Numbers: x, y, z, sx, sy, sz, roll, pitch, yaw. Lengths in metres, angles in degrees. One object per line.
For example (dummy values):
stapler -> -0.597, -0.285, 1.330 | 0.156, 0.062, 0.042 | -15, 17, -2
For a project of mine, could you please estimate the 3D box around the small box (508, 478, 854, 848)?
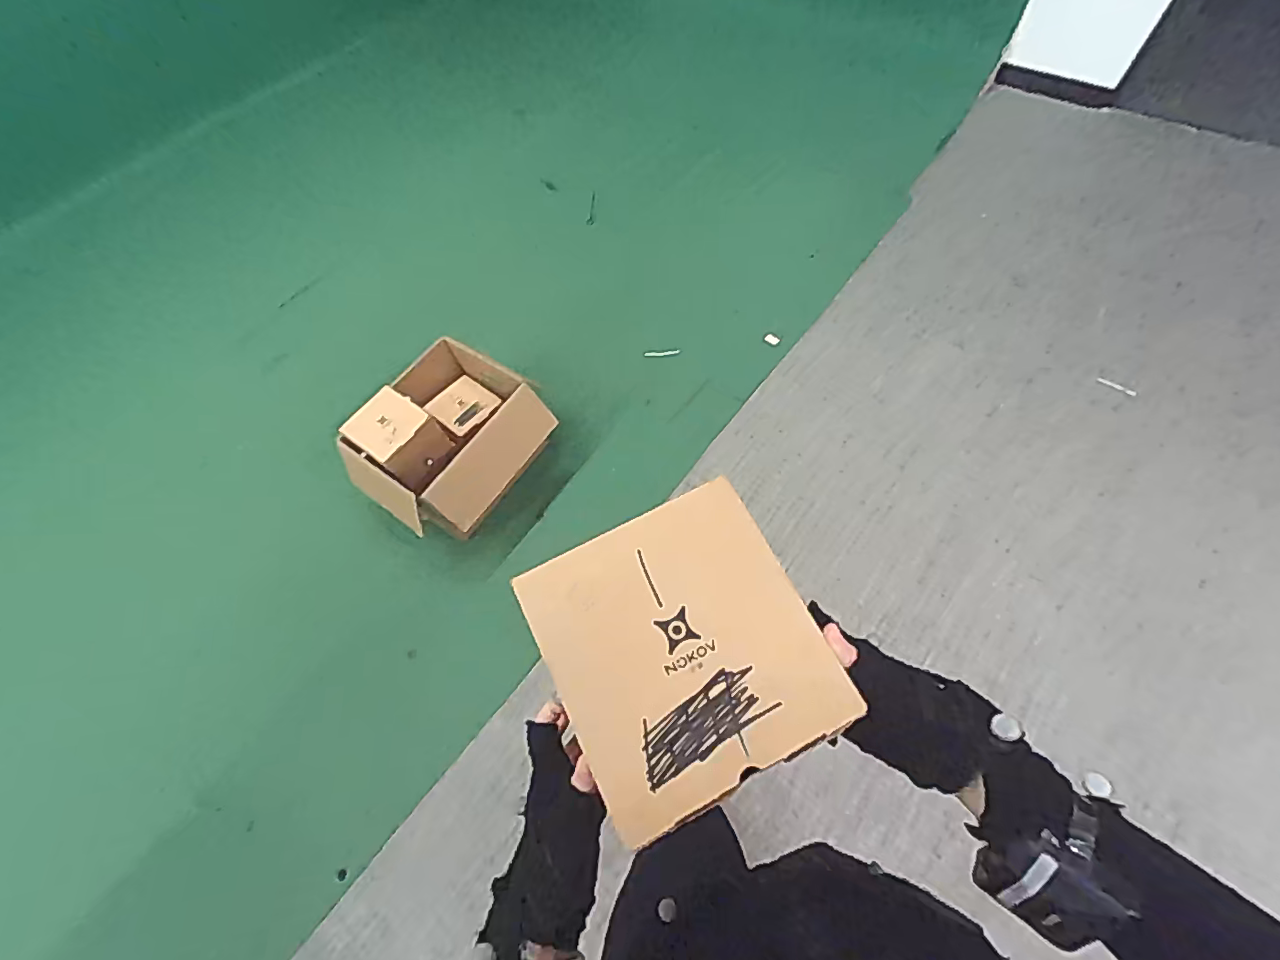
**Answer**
small box -> 0.024, 0.130, 0.417 | 0.168, 0.176, 0.179 | -26, 71, -8
